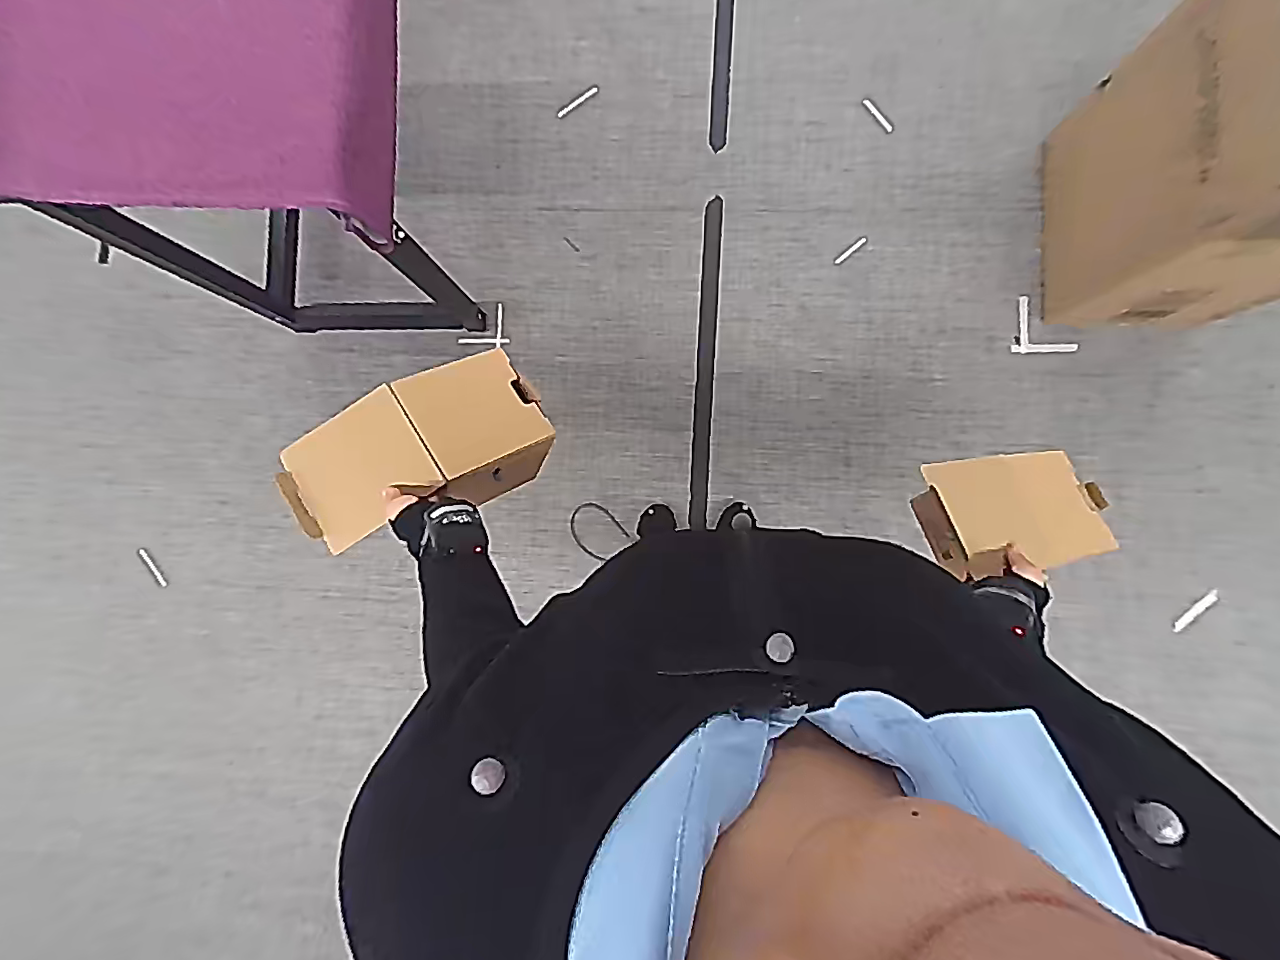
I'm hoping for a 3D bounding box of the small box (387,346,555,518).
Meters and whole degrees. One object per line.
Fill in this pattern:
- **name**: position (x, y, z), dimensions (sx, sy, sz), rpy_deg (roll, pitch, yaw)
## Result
- **small box**: position (-0.256, -0.066, 0.814), dimensions (0.179, 0.176, 0.168), rpy_deg (-28, 80, -31)
